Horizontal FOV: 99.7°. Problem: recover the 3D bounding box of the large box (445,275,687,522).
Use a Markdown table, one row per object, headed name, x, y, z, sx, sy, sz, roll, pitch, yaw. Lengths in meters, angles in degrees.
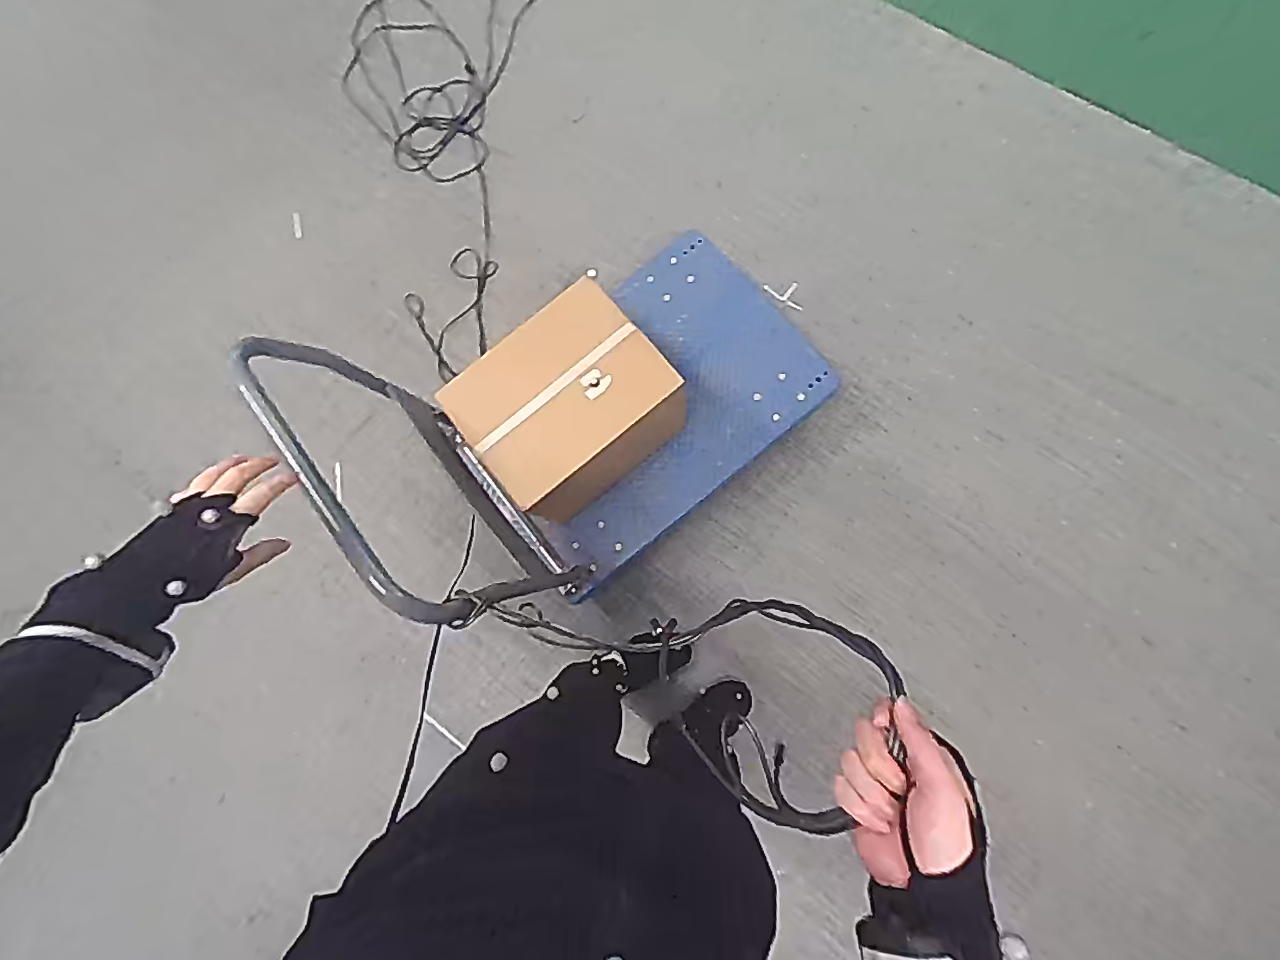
| name | x | y | z | sx | sy | sz | roll | pitch | yaw |
| --- | --- | --- | --- | --- | --- | --- | --- | --- | --- |
| large box | -0.140 | -0.158 | 1.219 | 0.408 | 0.320 | 0.320 | -39 | 79 | -3 |
